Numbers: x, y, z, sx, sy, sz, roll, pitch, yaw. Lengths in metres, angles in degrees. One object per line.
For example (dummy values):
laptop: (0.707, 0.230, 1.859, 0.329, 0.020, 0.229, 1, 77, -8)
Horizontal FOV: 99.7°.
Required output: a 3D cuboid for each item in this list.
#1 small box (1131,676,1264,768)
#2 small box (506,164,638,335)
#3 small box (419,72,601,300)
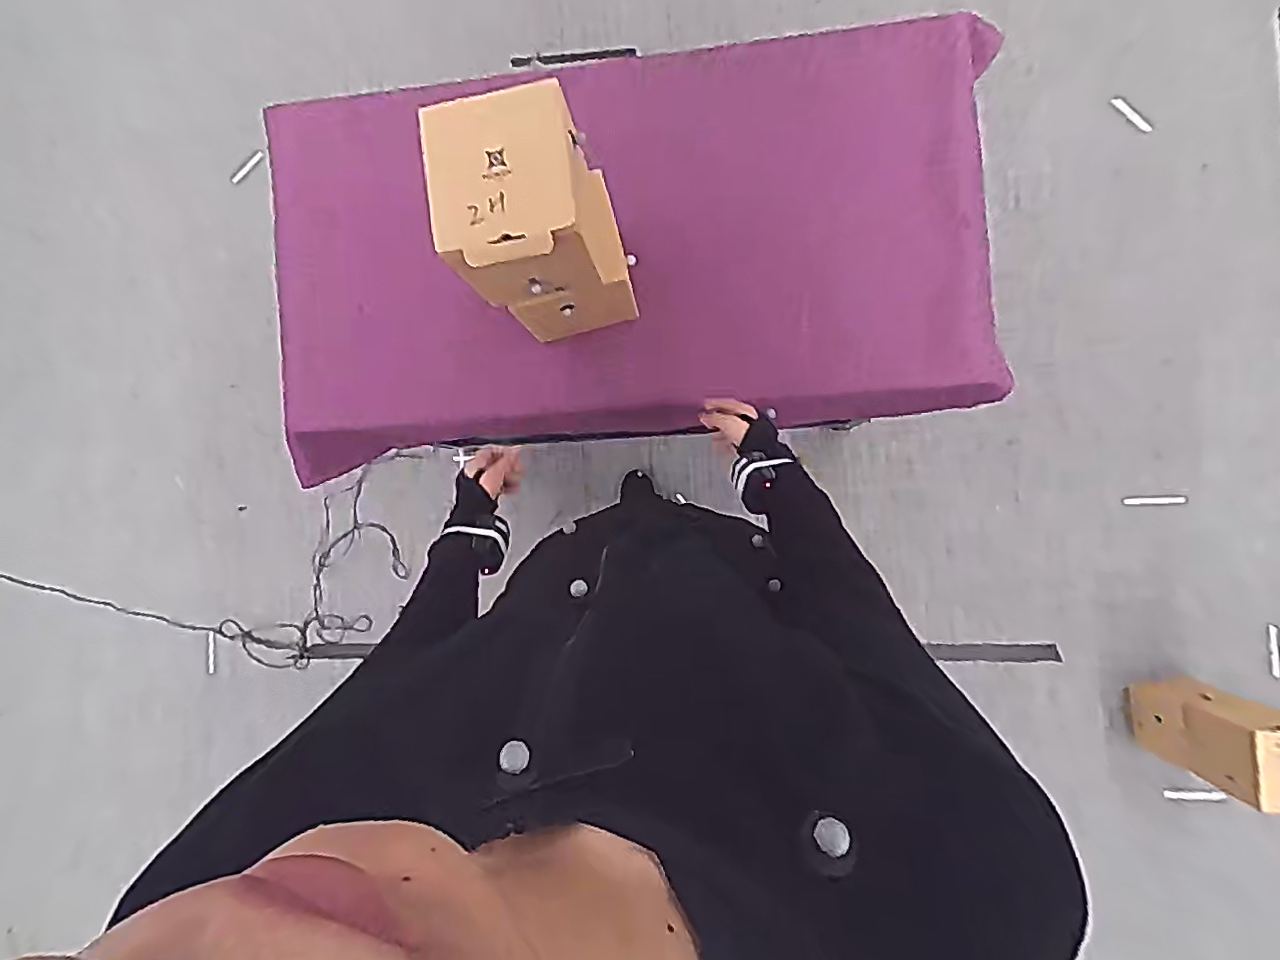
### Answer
small box: (1.419, 0.616, 1.393, 0.179, 0.176, 0.168, -6, 88, 5)
small box: (-0.111, -0.341, 0.837, 0.179, 0.176, 0.168, -14, 88, 5)
small box: (-0.150, -0.350, 0.675, 0.168, 0.176, 0.179, -8, 88, 6)
